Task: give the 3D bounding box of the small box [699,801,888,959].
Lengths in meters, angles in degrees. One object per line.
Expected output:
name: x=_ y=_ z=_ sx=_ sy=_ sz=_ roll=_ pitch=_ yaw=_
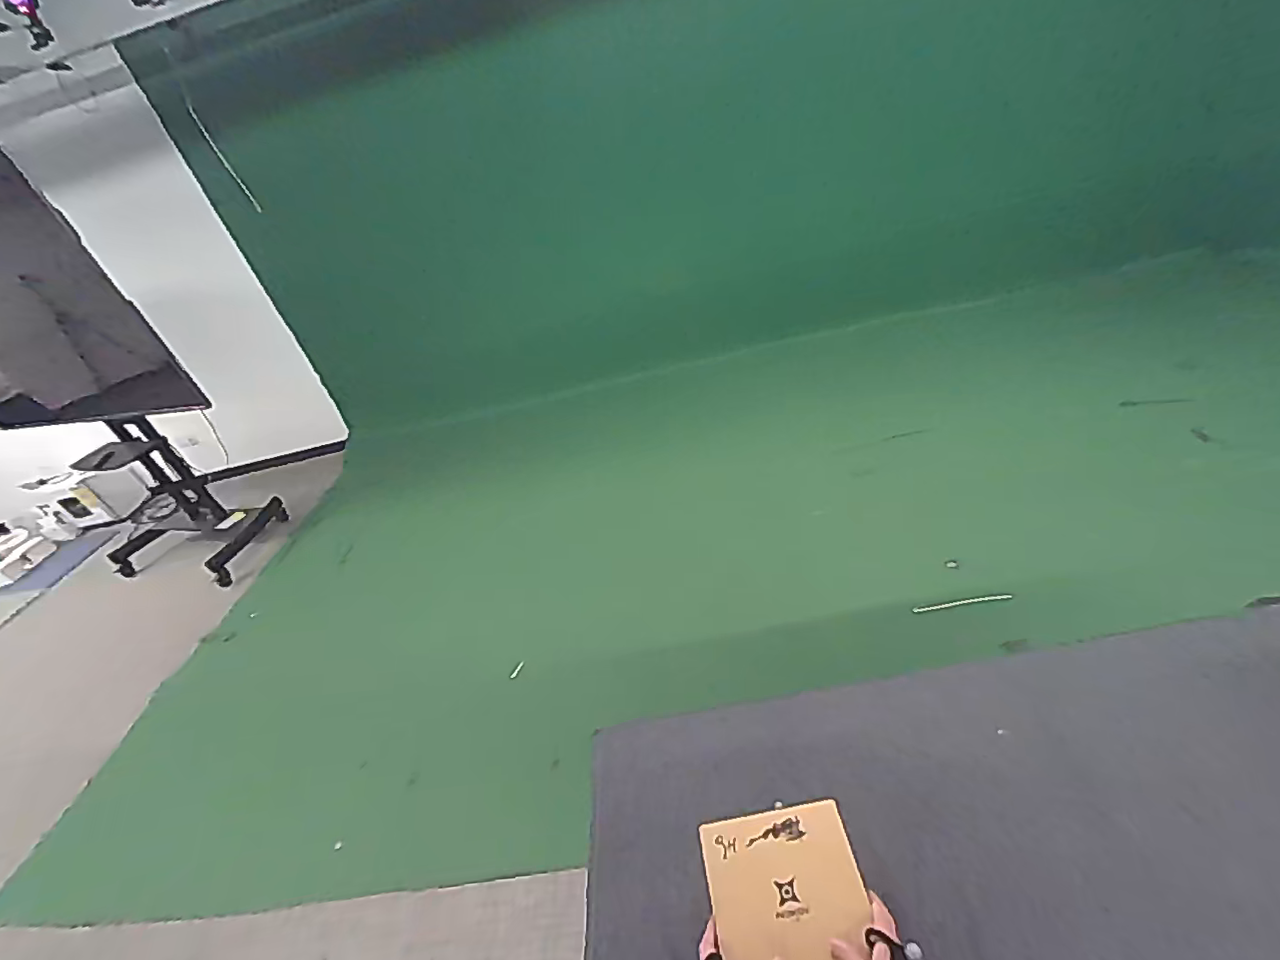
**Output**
small box: x=0.175 y=0.505 z=0.623 sx=0.168 sy=0.176 sz=0.179 roll=-14 pitch=41 yaw=3
